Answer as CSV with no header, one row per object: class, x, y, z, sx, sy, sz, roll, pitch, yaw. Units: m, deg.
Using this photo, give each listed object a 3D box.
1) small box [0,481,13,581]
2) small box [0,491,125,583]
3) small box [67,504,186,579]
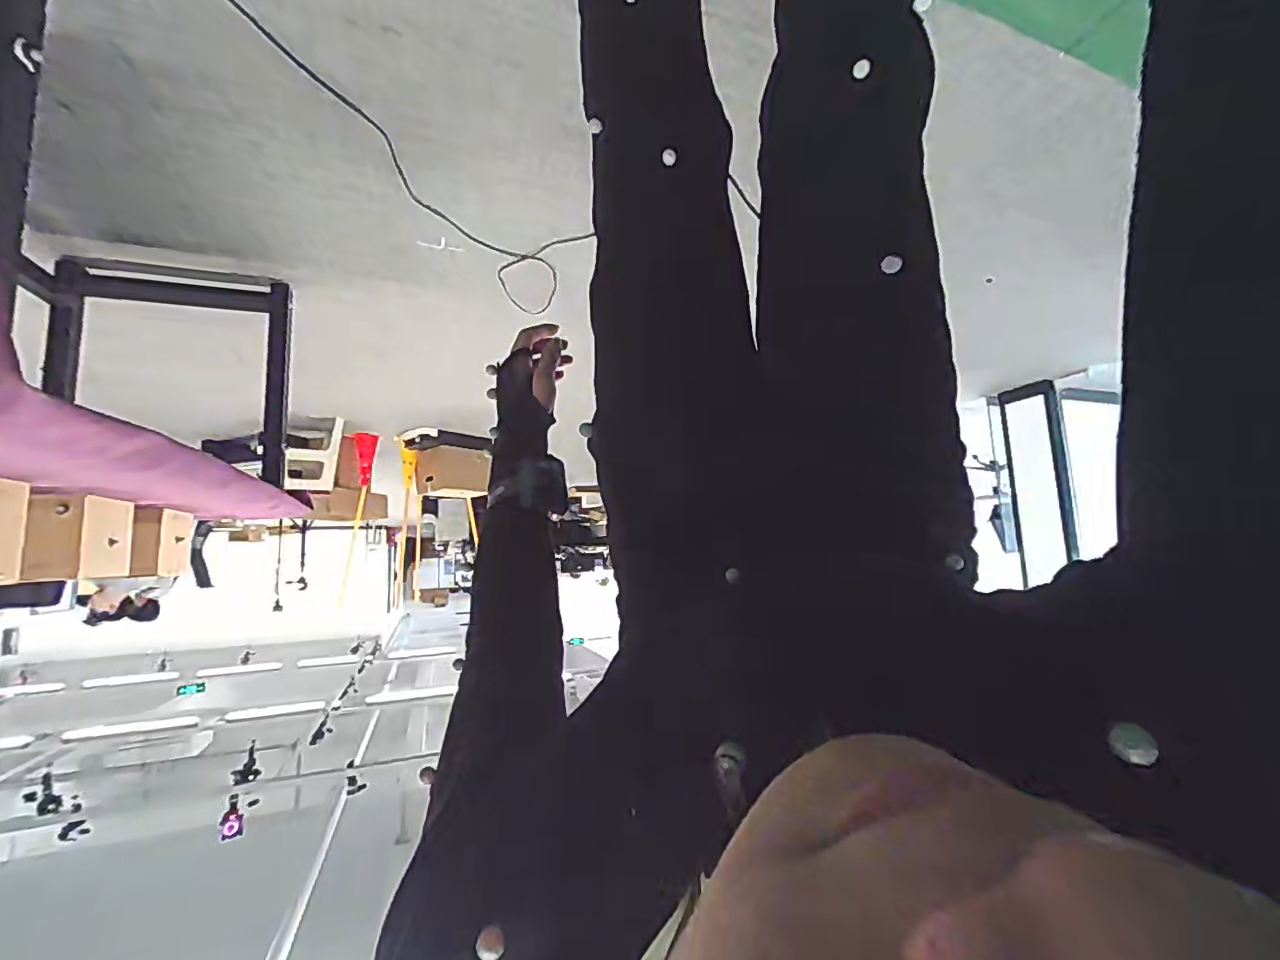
small box,-1.065,0.068,0.772,0.179,0.176,0.168,0,172,-20
small box,-1.170,0.111,1.071,0.168,0.176,0.179,0,173,-19
small box,-1.269,0.150,1.342,0.179,0.176,0.168,-1,172,-19
